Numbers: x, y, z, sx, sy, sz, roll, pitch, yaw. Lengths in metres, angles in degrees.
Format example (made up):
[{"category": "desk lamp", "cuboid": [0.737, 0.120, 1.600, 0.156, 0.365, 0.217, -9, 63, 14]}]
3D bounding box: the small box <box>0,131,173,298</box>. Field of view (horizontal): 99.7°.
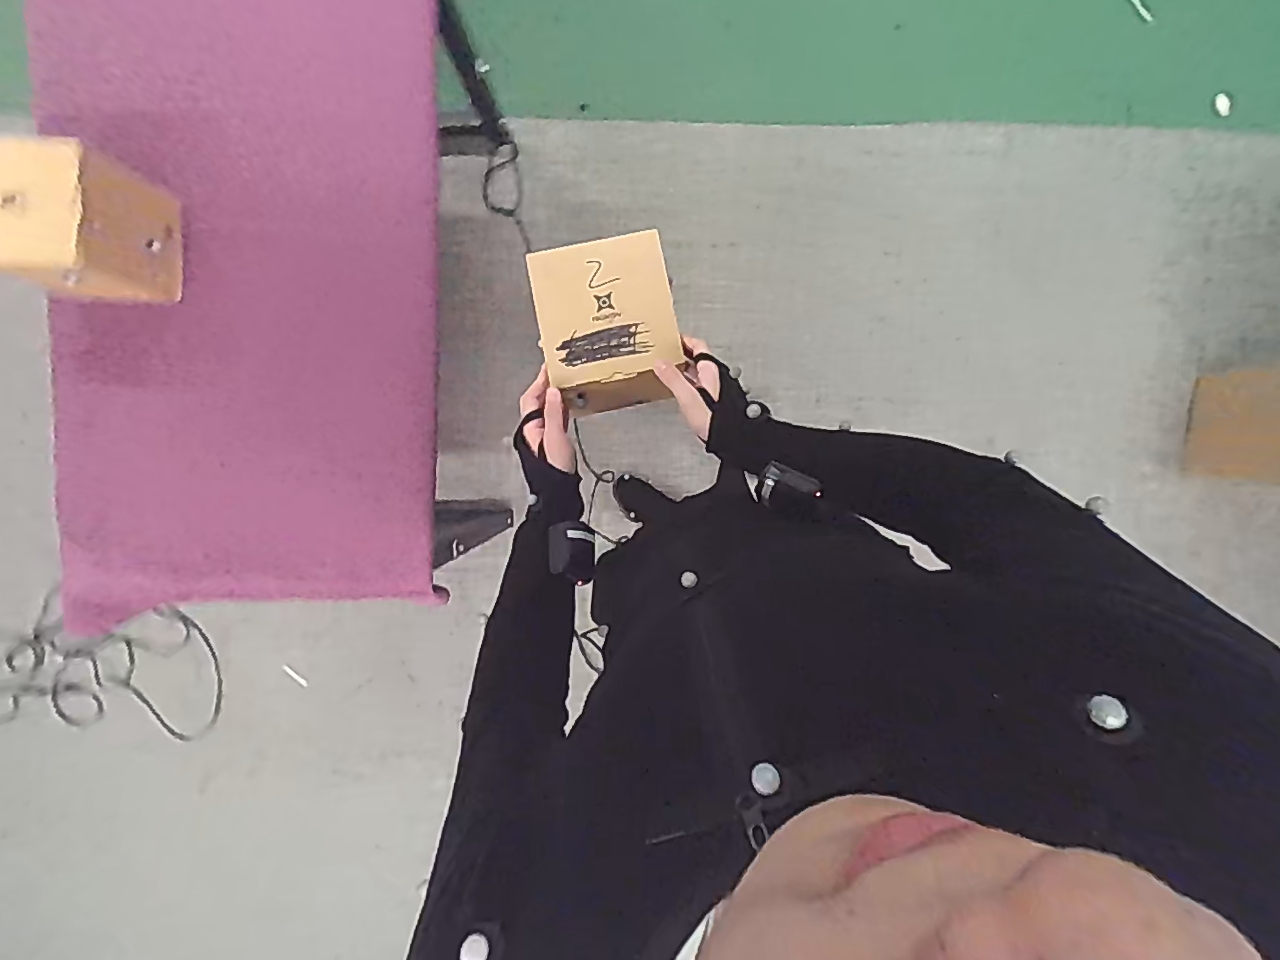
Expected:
[{"category": "small box", "cuboid": [-0.834, -0.371, 0.780, 0.179, 0.176, 0.168, 2, 92, -2]}]
